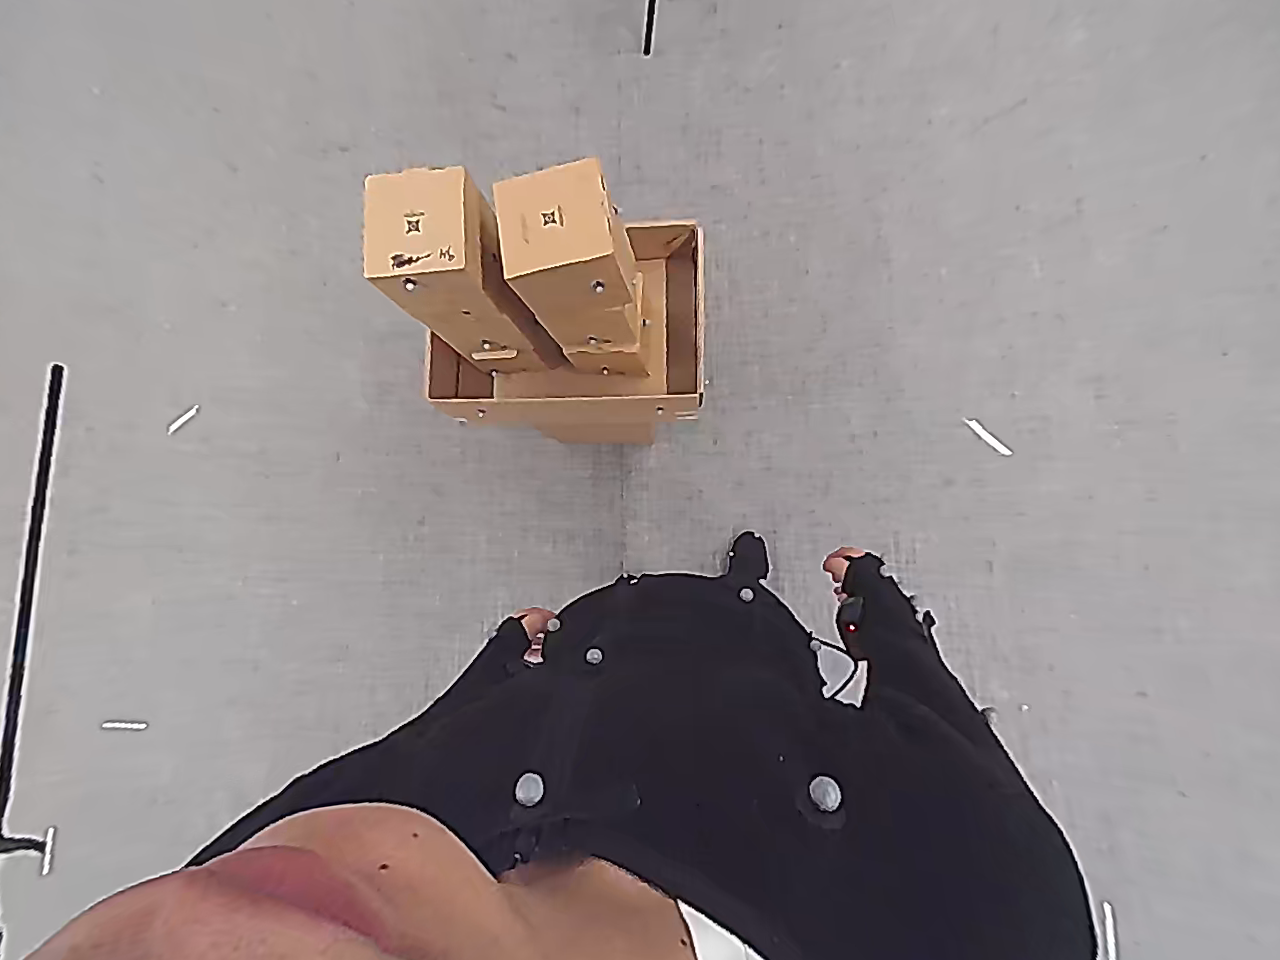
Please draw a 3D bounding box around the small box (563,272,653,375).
[{"bbox_3d":[-0.065,-0.346,1.214,0.168,0.176,0.179,2,84,10],"label":"small box"}]

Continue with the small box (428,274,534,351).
[{"bbox_3d":[-0.315,-0.373,1.078,0.168,0.176,0.179,-3,84,6],"label":"small box"}]

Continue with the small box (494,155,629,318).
[{"bbox_3d":[-0.119,-0.389,0.894,0.179,0.176,0.168,-9,82,9],"label":"small box"}]

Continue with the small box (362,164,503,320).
[{"bbox_3d":[-0.339,-0.393,0.916,0.168,0.176,0.179,-3,82,7],"label":"small box"}]
